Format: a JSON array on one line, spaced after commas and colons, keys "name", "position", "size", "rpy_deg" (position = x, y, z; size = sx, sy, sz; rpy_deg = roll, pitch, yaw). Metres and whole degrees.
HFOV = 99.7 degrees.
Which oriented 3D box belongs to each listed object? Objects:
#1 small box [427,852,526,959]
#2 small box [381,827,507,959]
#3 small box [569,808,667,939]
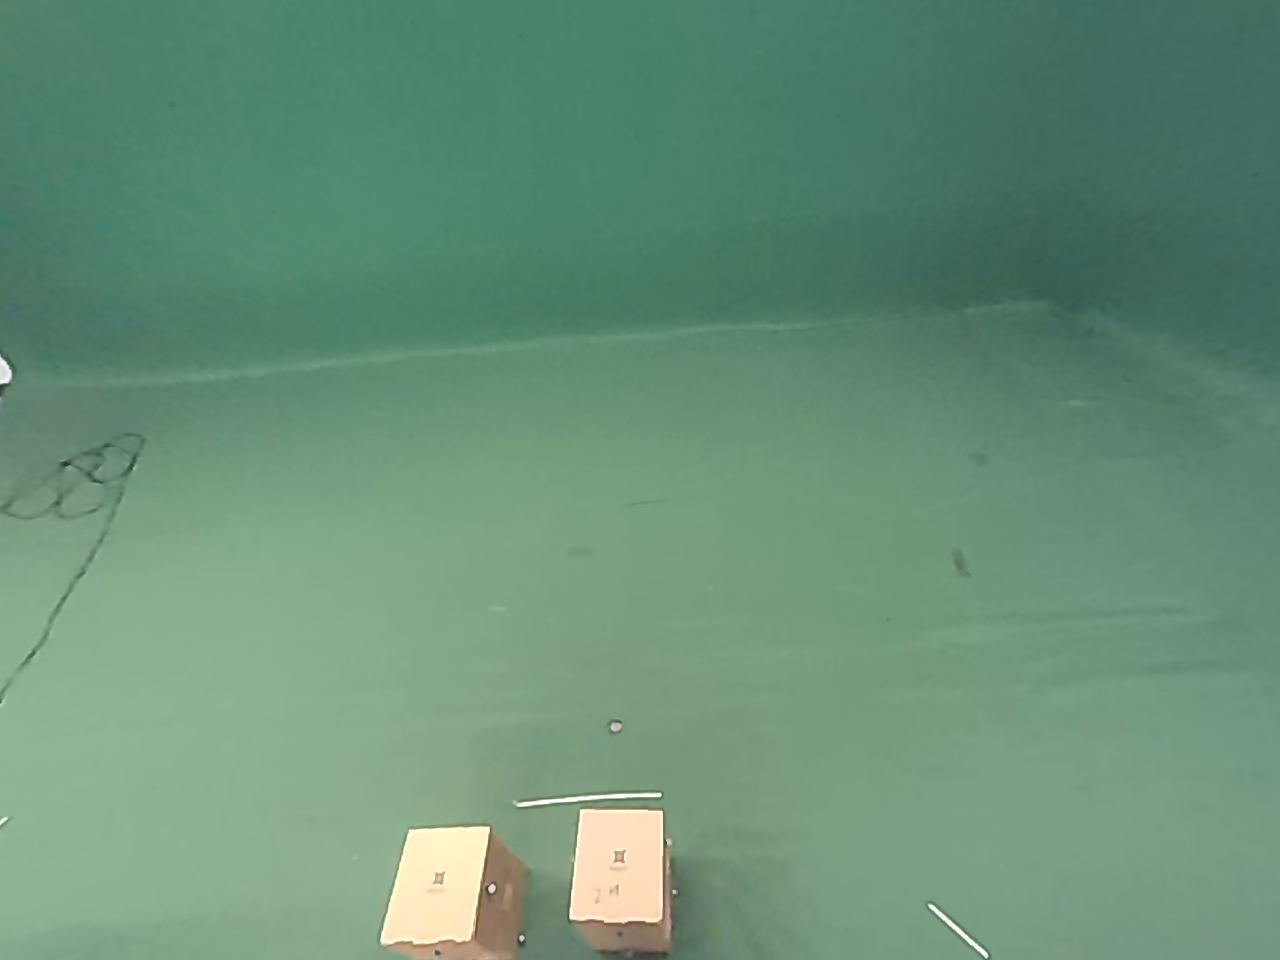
[{"name": "small box", "position": [-0.353, 0.920, 1.162], "size": [0.179, 0.176, 0.168], "rpy_deg": [-5, 42, 3]}, {"name": "small box", "position": [-0.365, 0.802, 1.050], "size": [0.168, 0.176, 0.179], "rpy_deg": [-4, 43, 3]}, {"name": "small box", "position": [-0.035, 0.762, 1.050], "size": [0.168, 0.176, 0.179], "rpy_deg": [-2, 43, 5]}]
